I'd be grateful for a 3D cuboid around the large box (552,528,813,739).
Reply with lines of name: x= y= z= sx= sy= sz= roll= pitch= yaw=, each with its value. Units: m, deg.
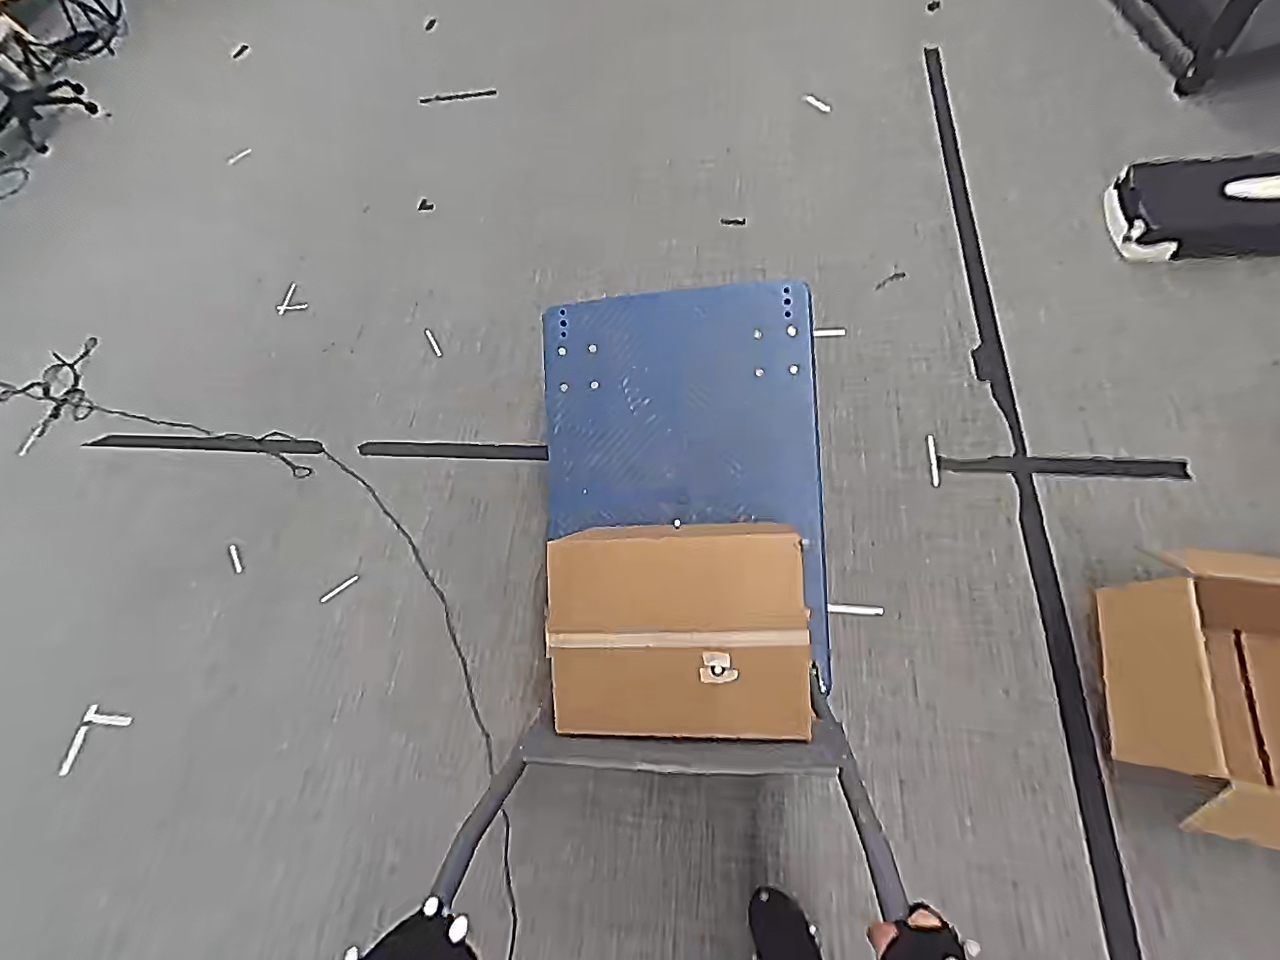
large box: x=0.078 y=0.258 z=1.002 sx=0.408 sy=0.320 sz=0.320 roll=-3 pitch=89 yaw=8
